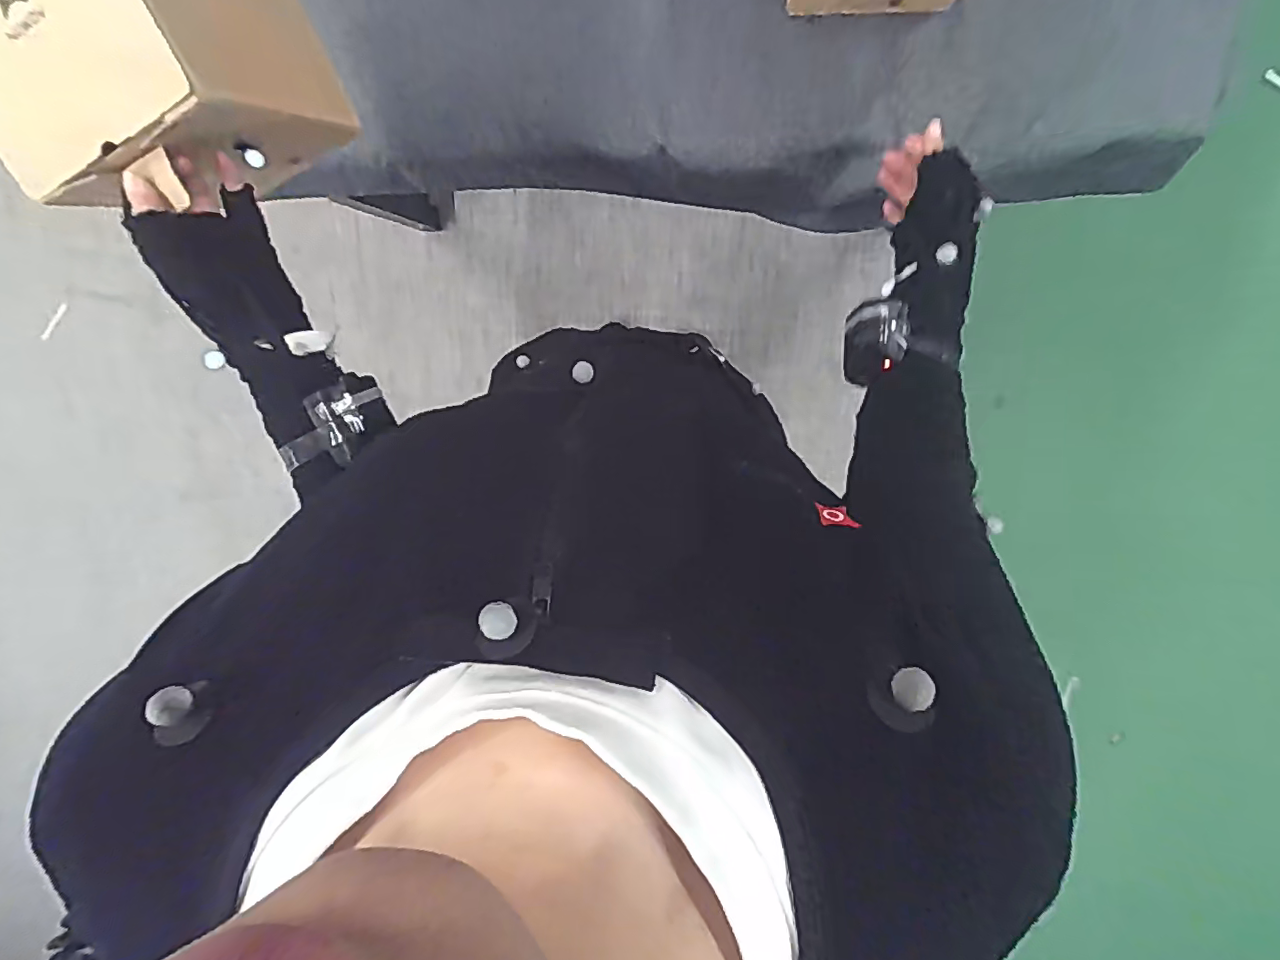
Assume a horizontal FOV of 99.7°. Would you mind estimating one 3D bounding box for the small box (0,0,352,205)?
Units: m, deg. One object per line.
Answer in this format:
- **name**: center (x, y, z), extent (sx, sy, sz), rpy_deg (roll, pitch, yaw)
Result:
- **small box**: center (-0.351, -0.316, 0.382), extent (0.168, 0.176, 0.179), rpy_deg (-16, 111, 17)
